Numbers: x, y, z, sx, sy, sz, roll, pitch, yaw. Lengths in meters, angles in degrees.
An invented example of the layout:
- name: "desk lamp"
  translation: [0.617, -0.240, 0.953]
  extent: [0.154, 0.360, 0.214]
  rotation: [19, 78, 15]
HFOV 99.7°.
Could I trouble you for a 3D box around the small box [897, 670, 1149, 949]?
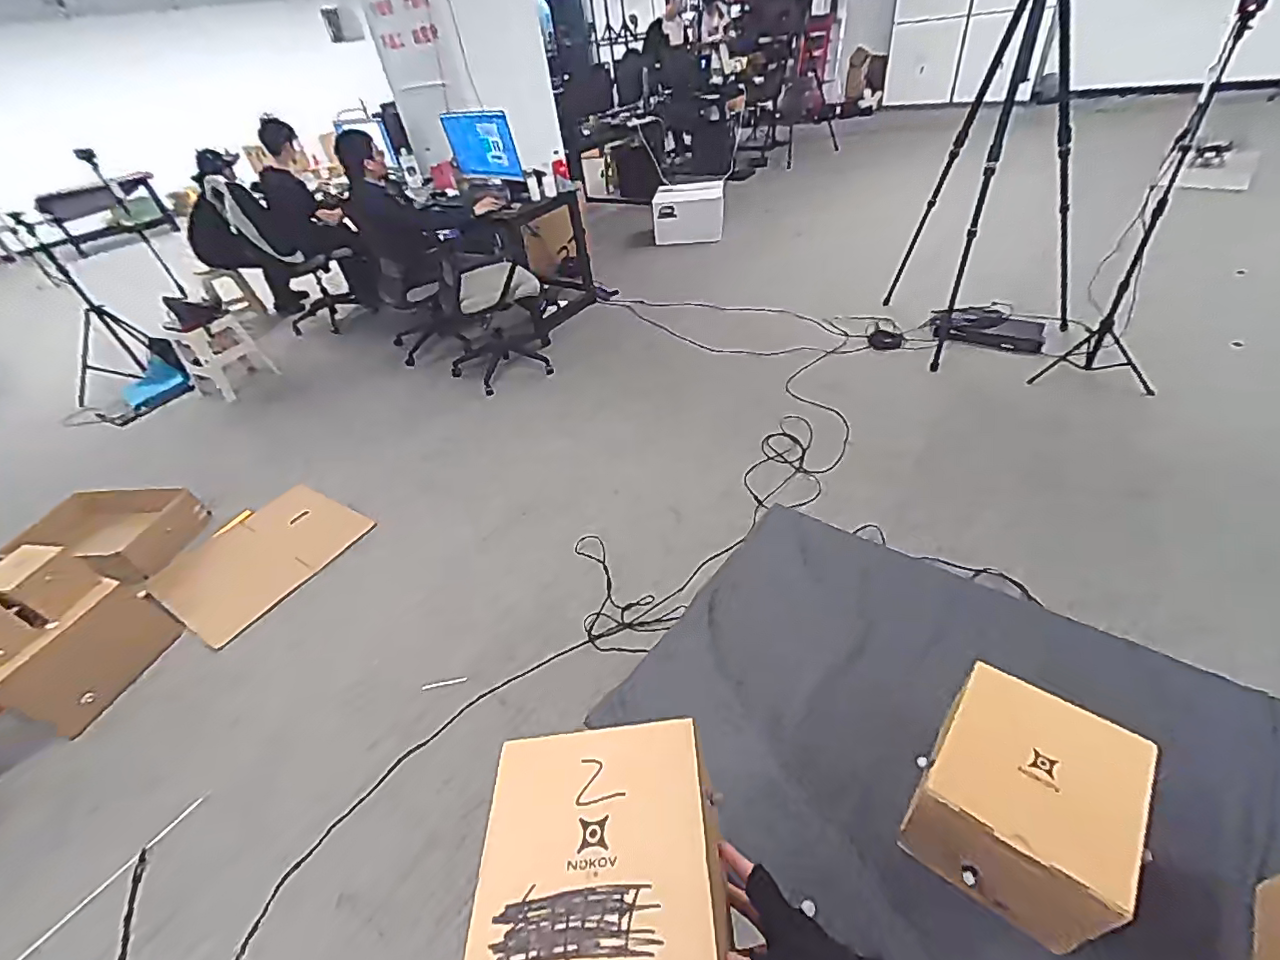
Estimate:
- name: "small box"
  translation: [0.405, 0.355, 0.593]
  extent: [0.168, 0.176, 0.179]
  rotation: [25, 51, 32]
